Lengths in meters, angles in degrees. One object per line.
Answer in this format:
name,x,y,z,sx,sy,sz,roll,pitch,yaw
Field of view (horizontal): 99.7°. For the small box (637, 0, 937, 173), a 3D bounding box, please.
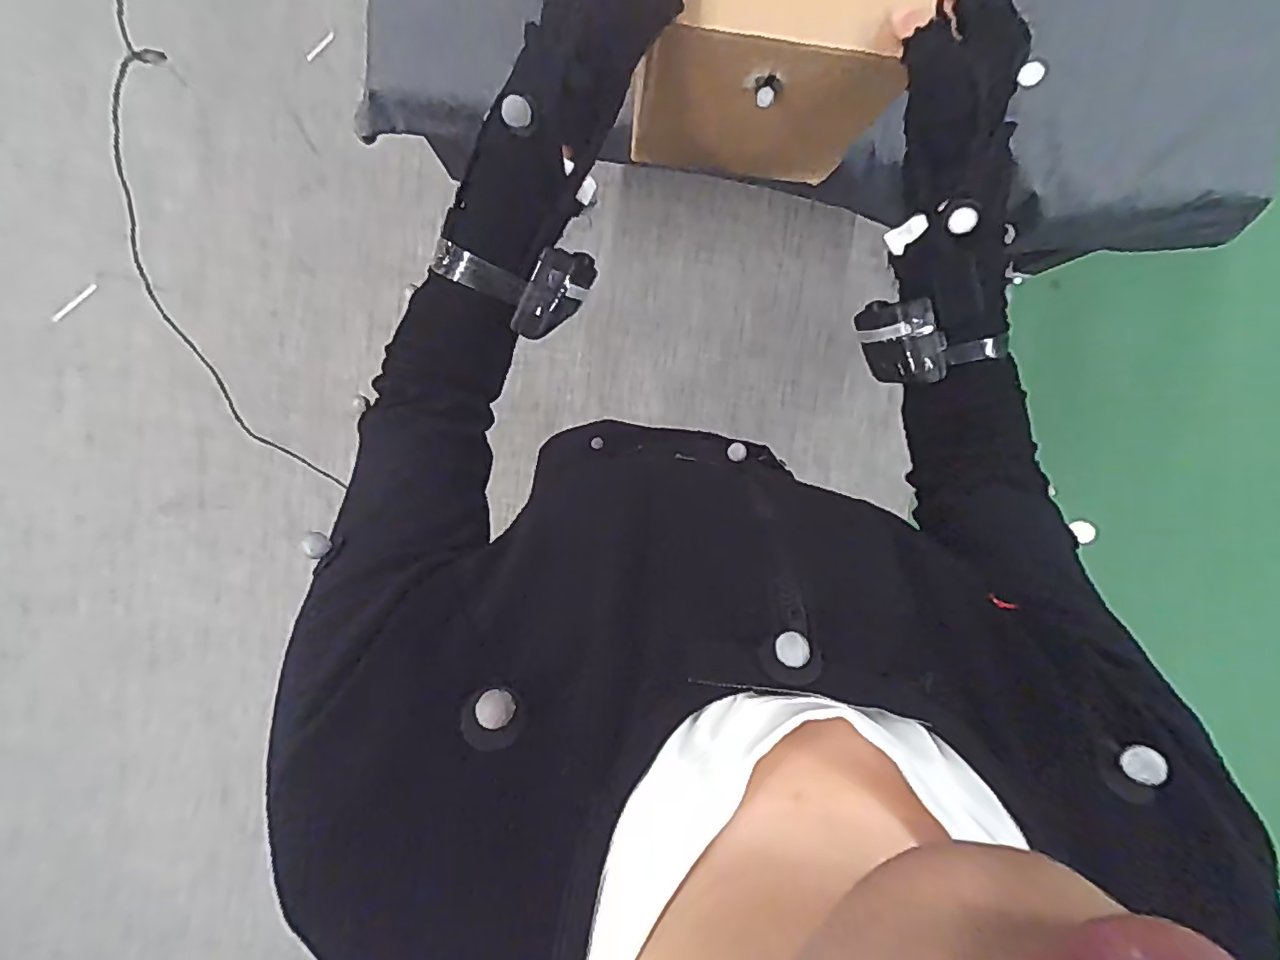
small box,0.094,-0.355,0.400,0.179,0.176,0.168,3,95,-6
